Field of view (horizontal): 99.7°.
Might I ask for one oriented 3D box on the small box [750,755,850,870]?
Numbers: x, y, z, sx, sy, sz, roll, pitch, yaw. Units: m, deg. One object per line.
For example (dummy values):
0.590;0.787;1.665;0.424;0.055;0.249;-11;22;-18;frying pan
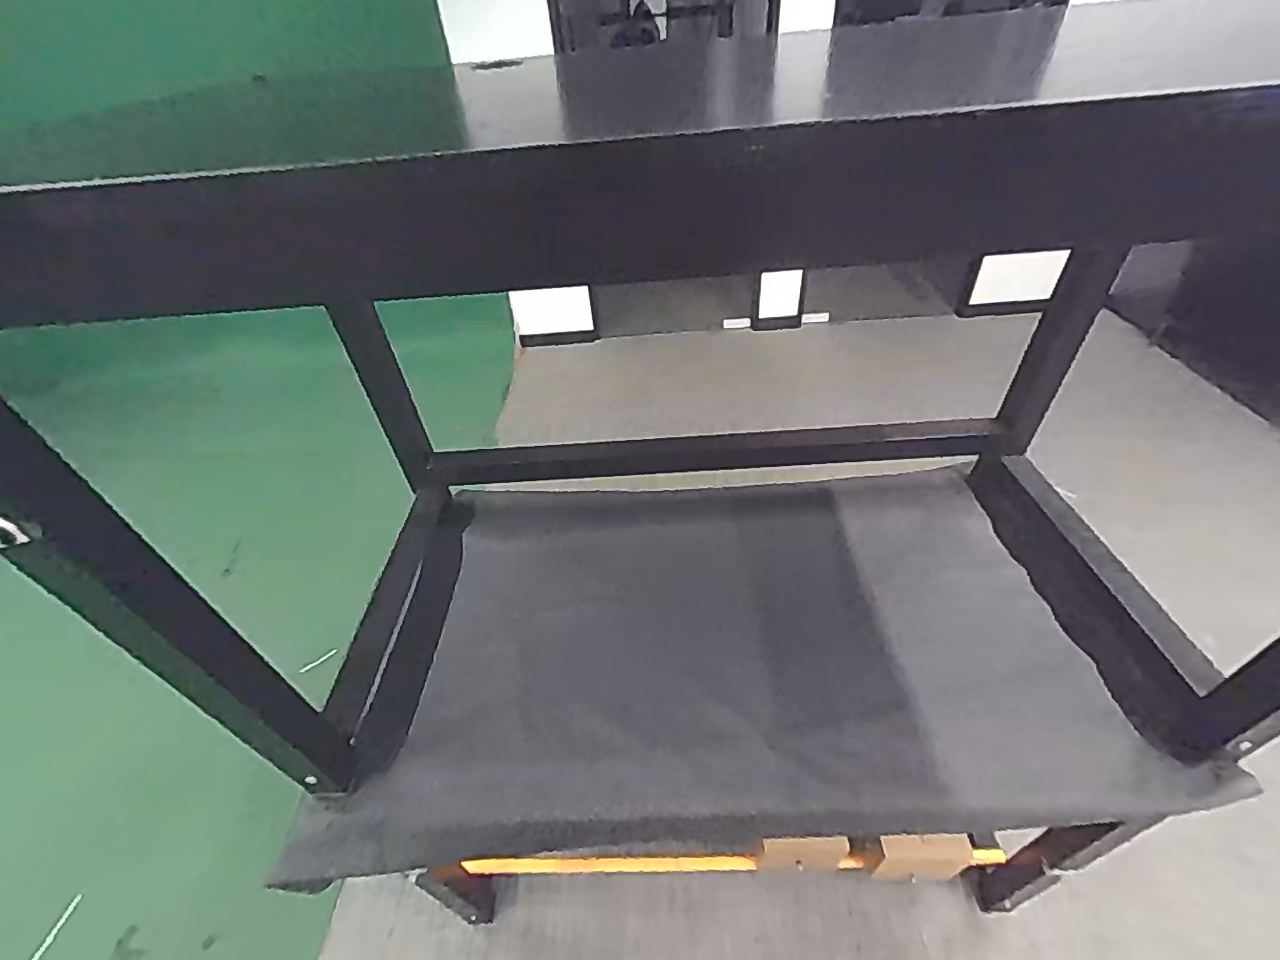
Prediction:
0.330;0.708;1.147;0.168;0.176;0.179;-4;42;3;small box
